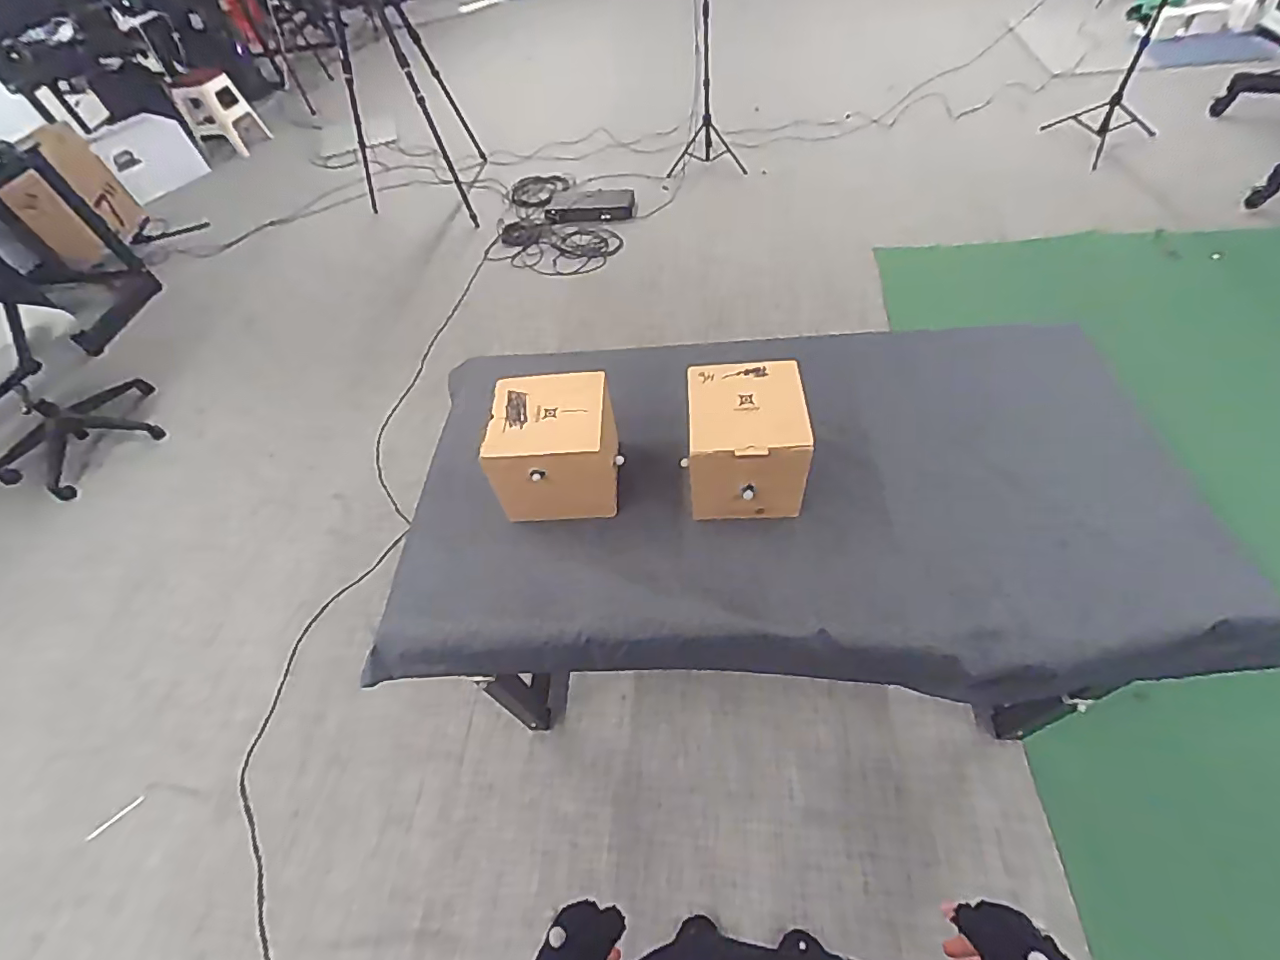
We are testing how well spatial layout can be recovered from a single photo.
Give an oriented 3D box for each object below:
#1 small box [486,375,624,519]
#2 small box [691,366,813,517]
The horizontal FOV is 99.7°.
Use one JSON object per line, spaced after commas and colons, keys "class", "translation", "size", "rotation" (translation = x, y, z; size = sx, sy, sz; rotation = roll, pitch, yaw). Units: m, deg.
{"class": "small box", "translation": [-0.125, -0.048, 0.875], "size": [0.179, 0.176, 0.168], "rotation": [-3, 53, 5]}
{"class": "small box", "translation": [0.166, -0.053, 0.840], "size": [0.168, 0.176, 0.179], "rotation": [-2, 53, 7]}
